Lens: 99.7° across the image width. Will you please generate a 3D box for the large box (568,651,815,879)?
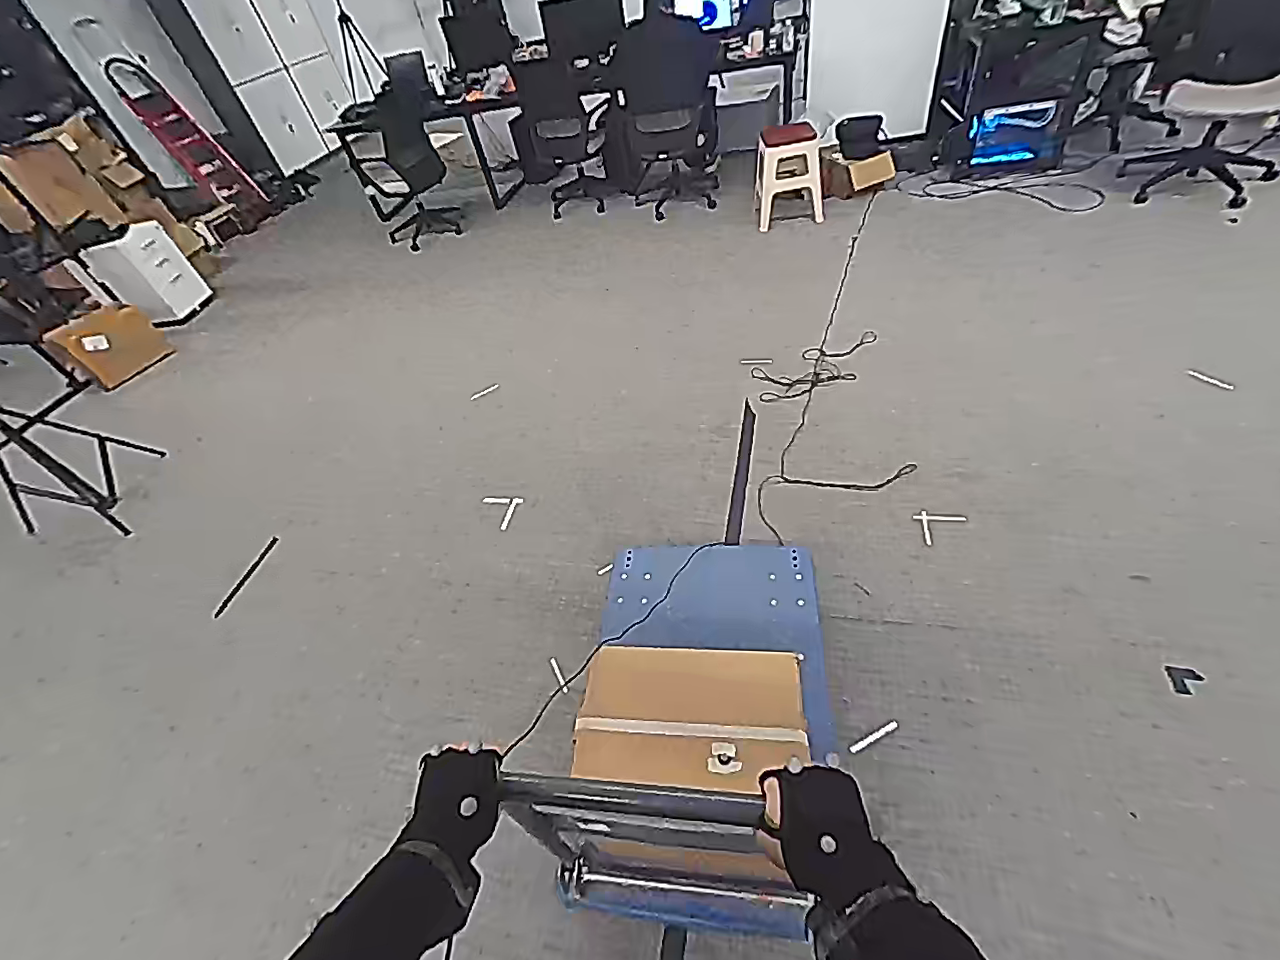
[{"bbox_3d":[0.111,0.557,1.065,0.408,0.320,0.320,-1,47,11],"label":"large box"}]
